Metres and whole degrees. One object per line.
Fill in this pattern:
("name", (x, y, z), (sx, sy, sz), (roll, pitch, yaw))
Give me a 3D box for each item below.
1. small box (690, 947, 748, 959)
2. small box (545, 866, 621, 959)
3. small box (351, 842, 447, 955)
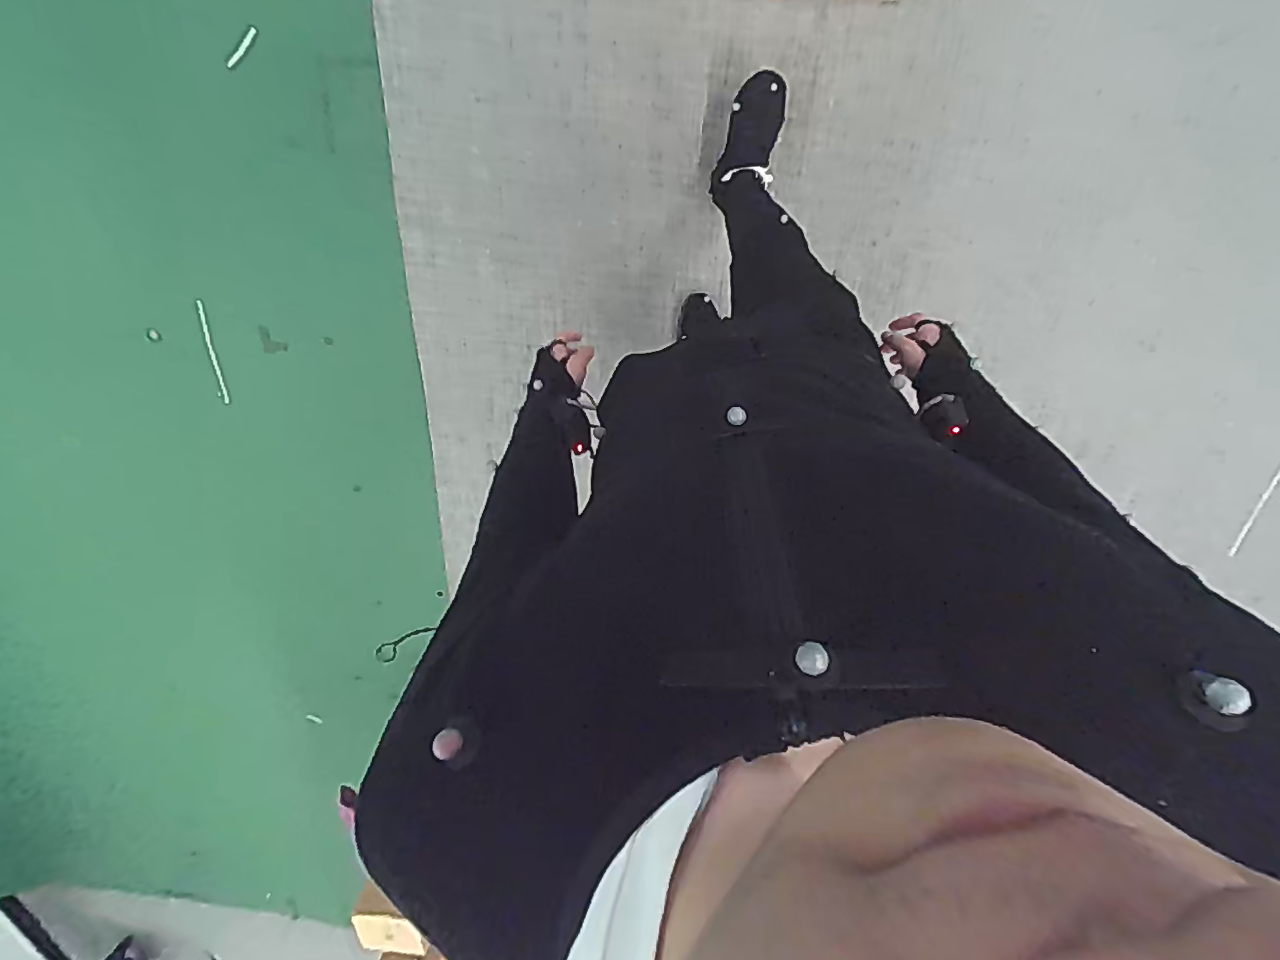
("small box", (0.217, 1.445, 1.501), (0.168, 0.176, 0.179), (7, 115, 3))
("small box", (-0.142, 1.141, 1.393), (0.168, 0.176, 0.179), (4, 116, 4))
("small box", (-0.616, 1.086, 1.407), (0.168, 0.176, 0.179), (5, 117, 1))
